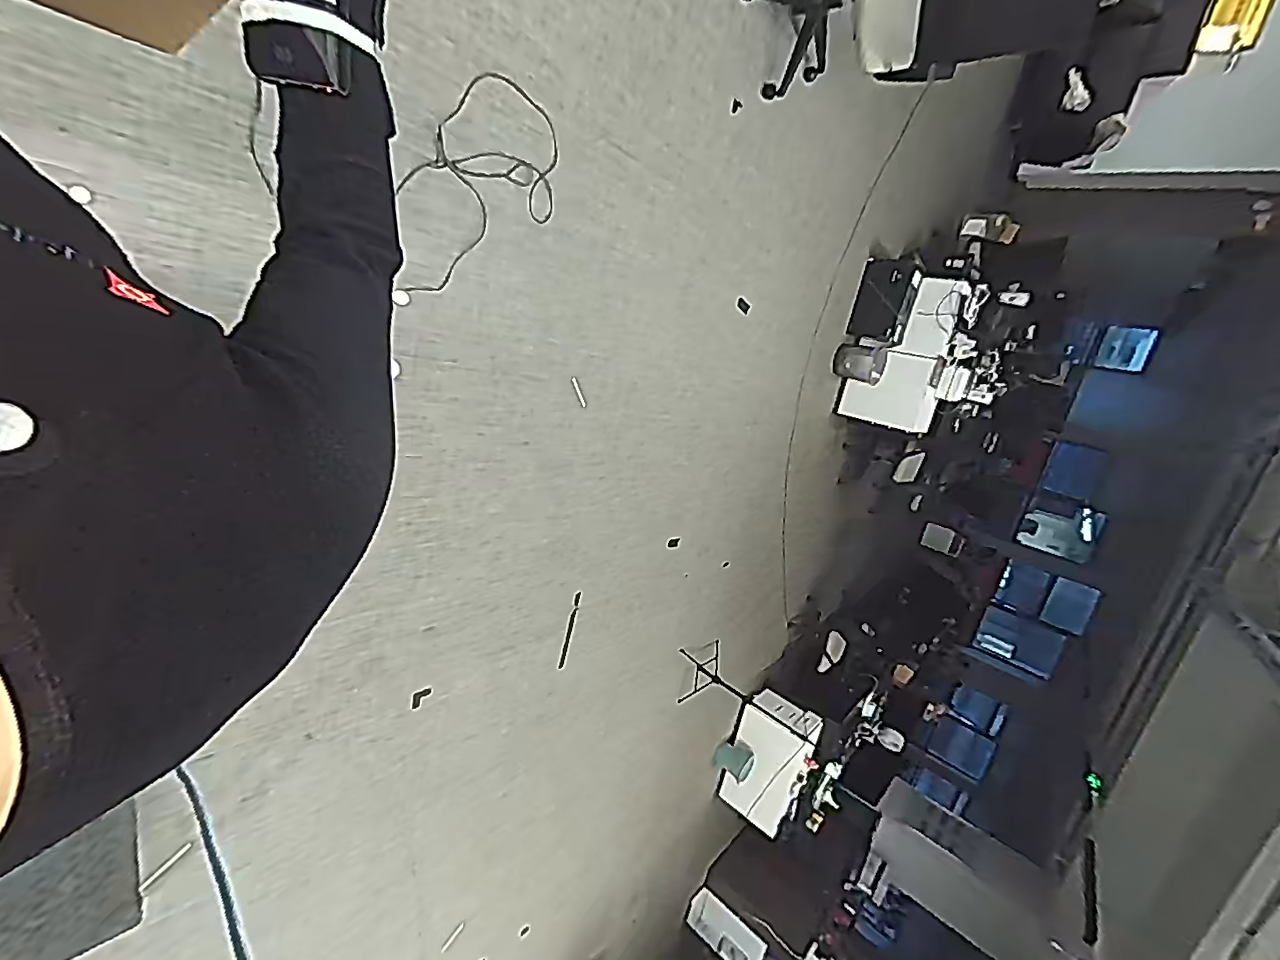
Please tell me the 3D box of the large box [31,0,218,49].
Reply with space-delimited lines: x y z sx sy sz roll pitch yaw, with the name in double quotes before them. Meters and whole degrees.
"large box" -0.436 -0.488 0.233 0.408 0.320 0.320 -10 111 -50
